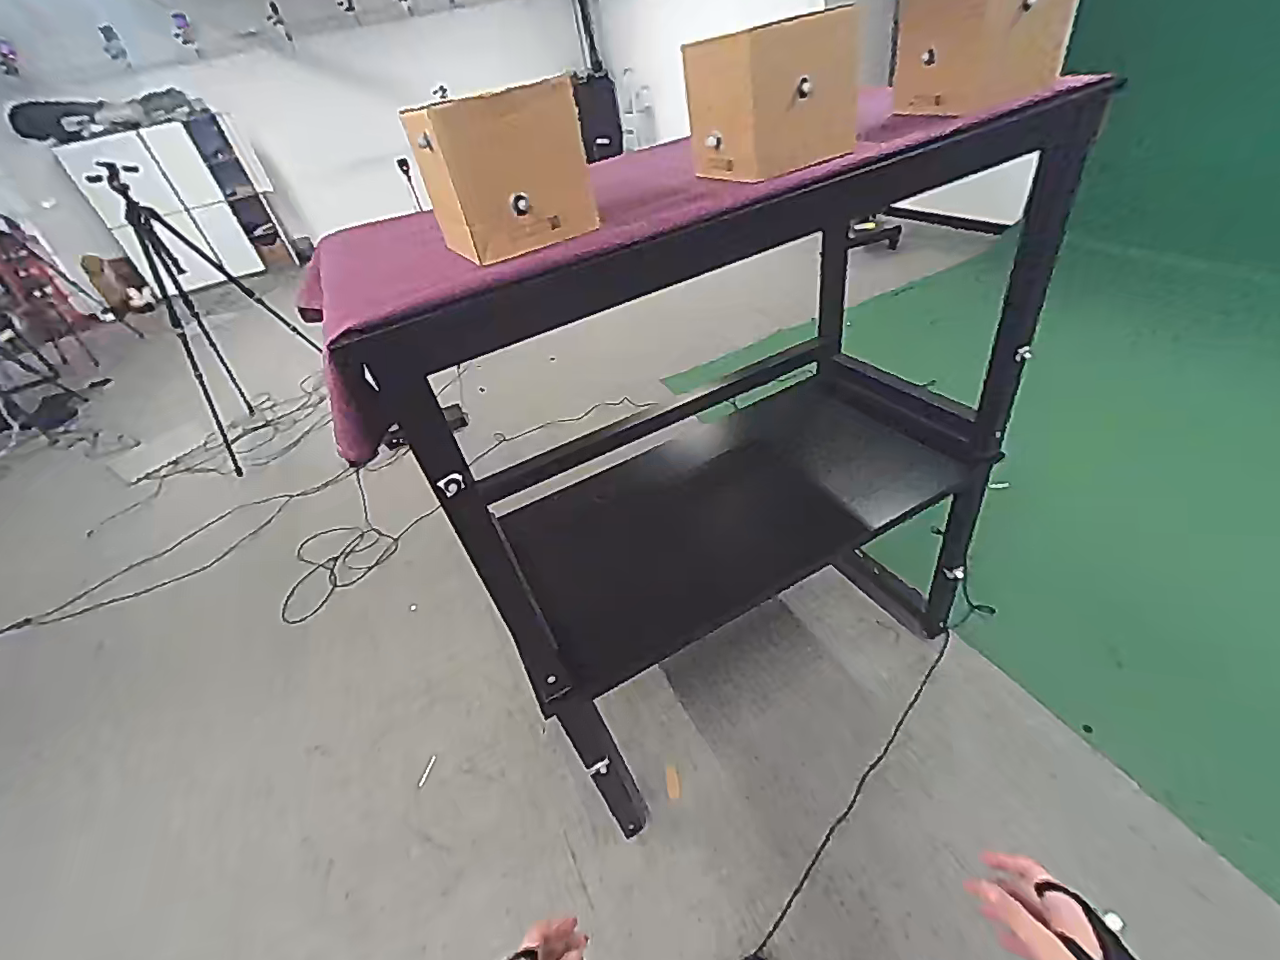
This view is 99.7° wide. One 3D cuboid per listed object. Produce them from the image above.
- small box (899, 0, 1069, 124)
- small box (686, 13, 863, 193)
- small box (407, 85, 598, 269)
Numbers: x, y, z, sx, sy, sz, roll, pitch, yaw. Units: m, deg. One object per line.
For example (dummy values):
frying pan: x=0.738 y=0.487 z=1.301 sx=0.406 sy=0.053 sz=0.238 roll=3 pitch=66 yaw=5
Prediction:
small box: x=0.535 y=-0.680 z=0.854 sx=0.179 sy=0.176 sz=0.168 roll=-22 pitch=40 yaw=-10
small box: x=0.186 y=-0.529 z=0.768 sx=0.179 sy=0.176 sz=0.168 roll=-25 pitch=38 yaw=-13
small box: x=-0.174 y=-0.386 z=0.696 sx=0.168 sy=0.176 sz=0.179 roll=-27 pitch=40 yaw=-18
